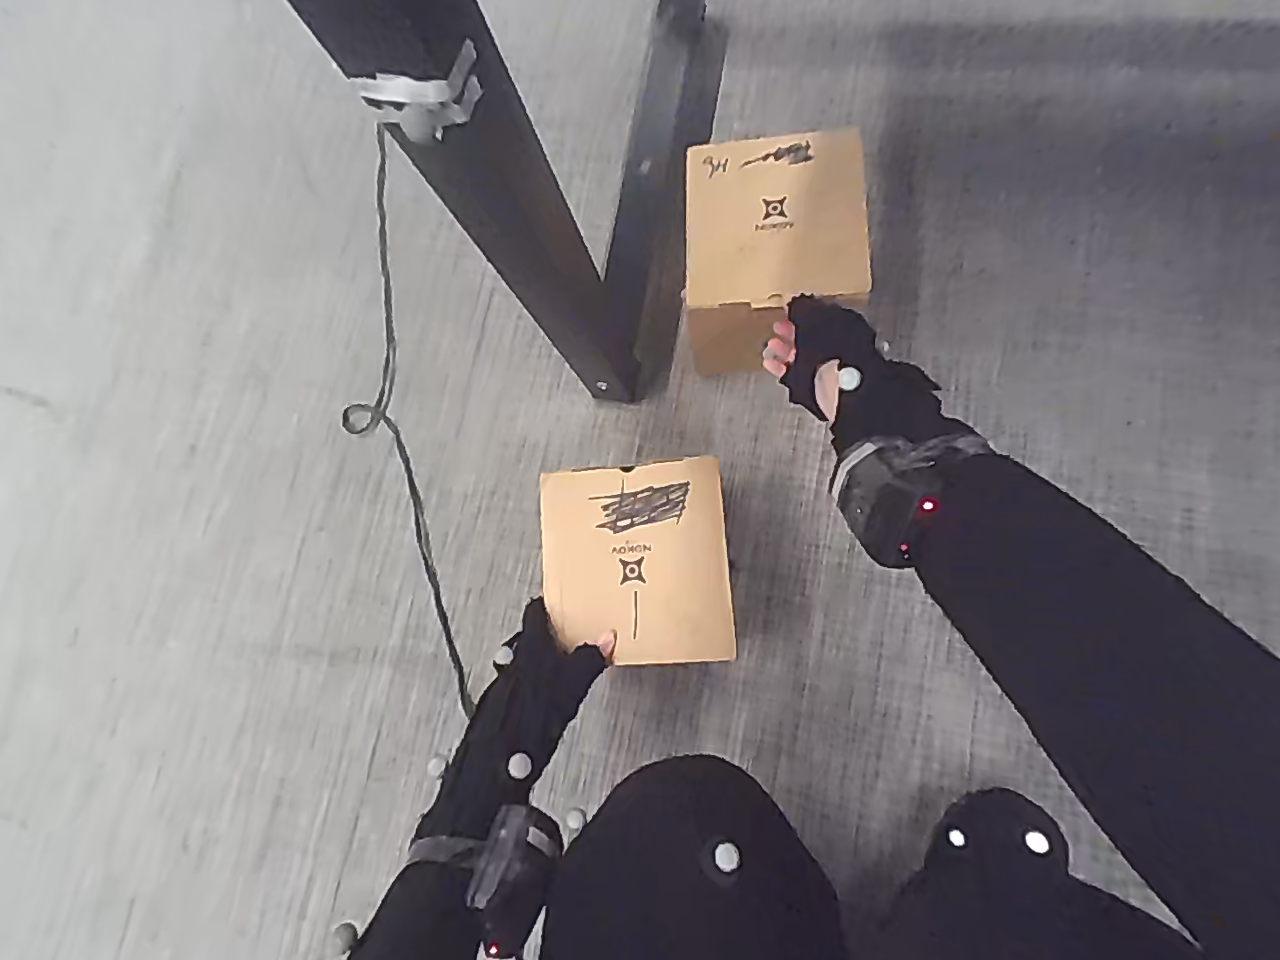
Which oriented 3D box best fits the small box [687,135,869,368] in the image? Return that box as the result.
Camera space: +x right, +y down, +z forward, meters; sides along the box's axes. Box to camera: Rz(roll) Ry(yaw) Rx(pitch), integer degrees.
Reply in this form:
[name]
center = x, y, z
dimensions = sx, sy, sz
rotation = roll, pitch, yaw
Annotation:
[small box]
center = 0.141, -0.228, 0.585
dimensions = 0.168, 0.176, 0.179
rotation = 1, 81, 8
